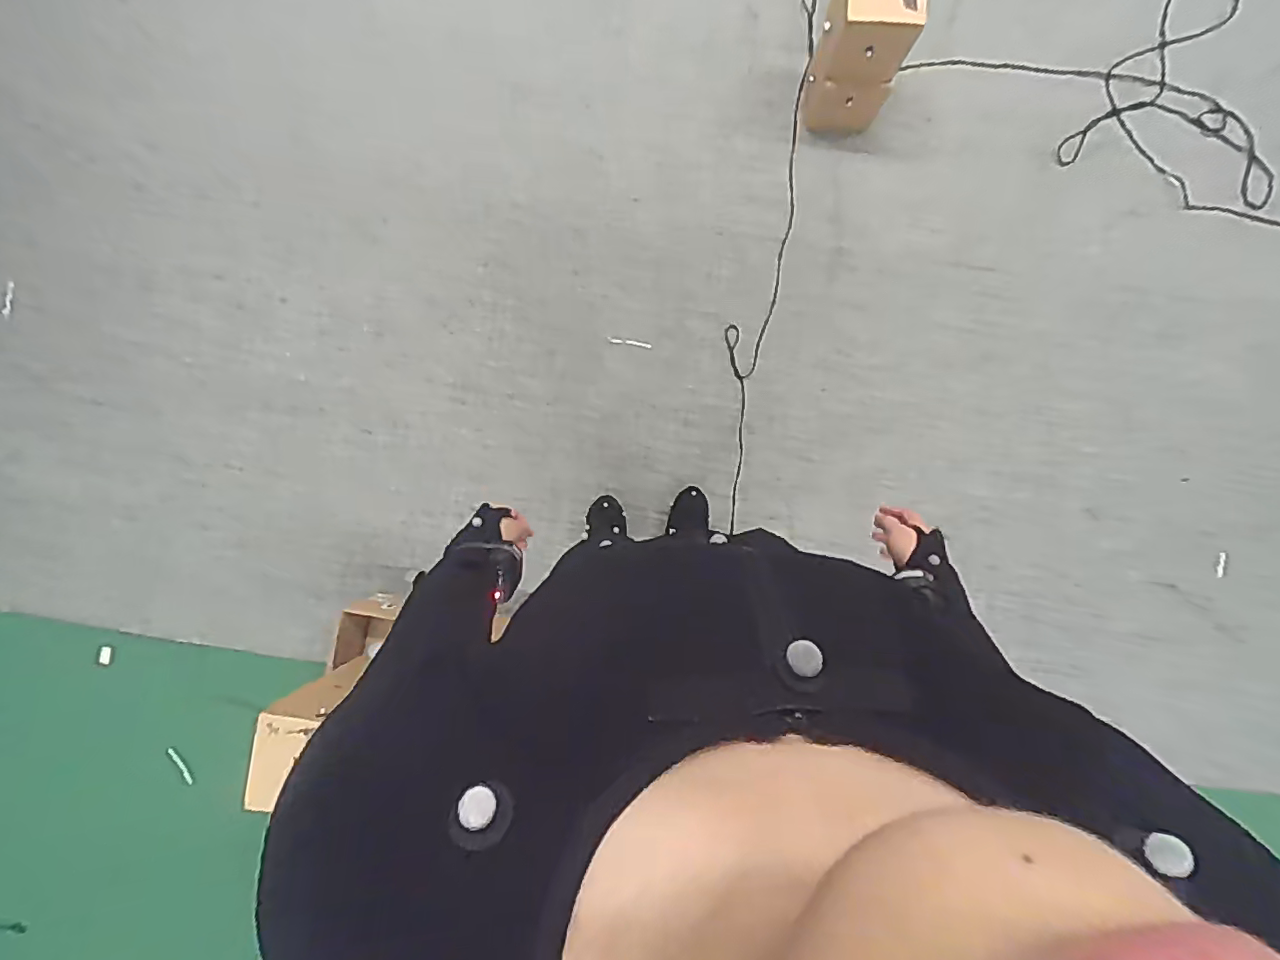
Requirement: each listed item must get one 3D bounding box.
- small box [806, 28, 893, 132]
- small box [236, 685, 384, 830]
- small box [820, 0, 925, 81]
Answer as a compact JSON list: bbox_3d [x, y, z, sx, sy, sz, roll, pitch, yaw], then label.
[{"bbox_3d":[0.542,-1.046,1.420,0.179,0.176,0.168,0,89,1],"label":"small box"},{"bbox_3d":[-0.609,0.512,1.020,0.168,0.176,0.179,9,88,1],"label":"small box"},{"bbox_3d":[0.536,-1.069,1.257,0.179,0.176,0.168,4,88,2],"label":"small box"}]
